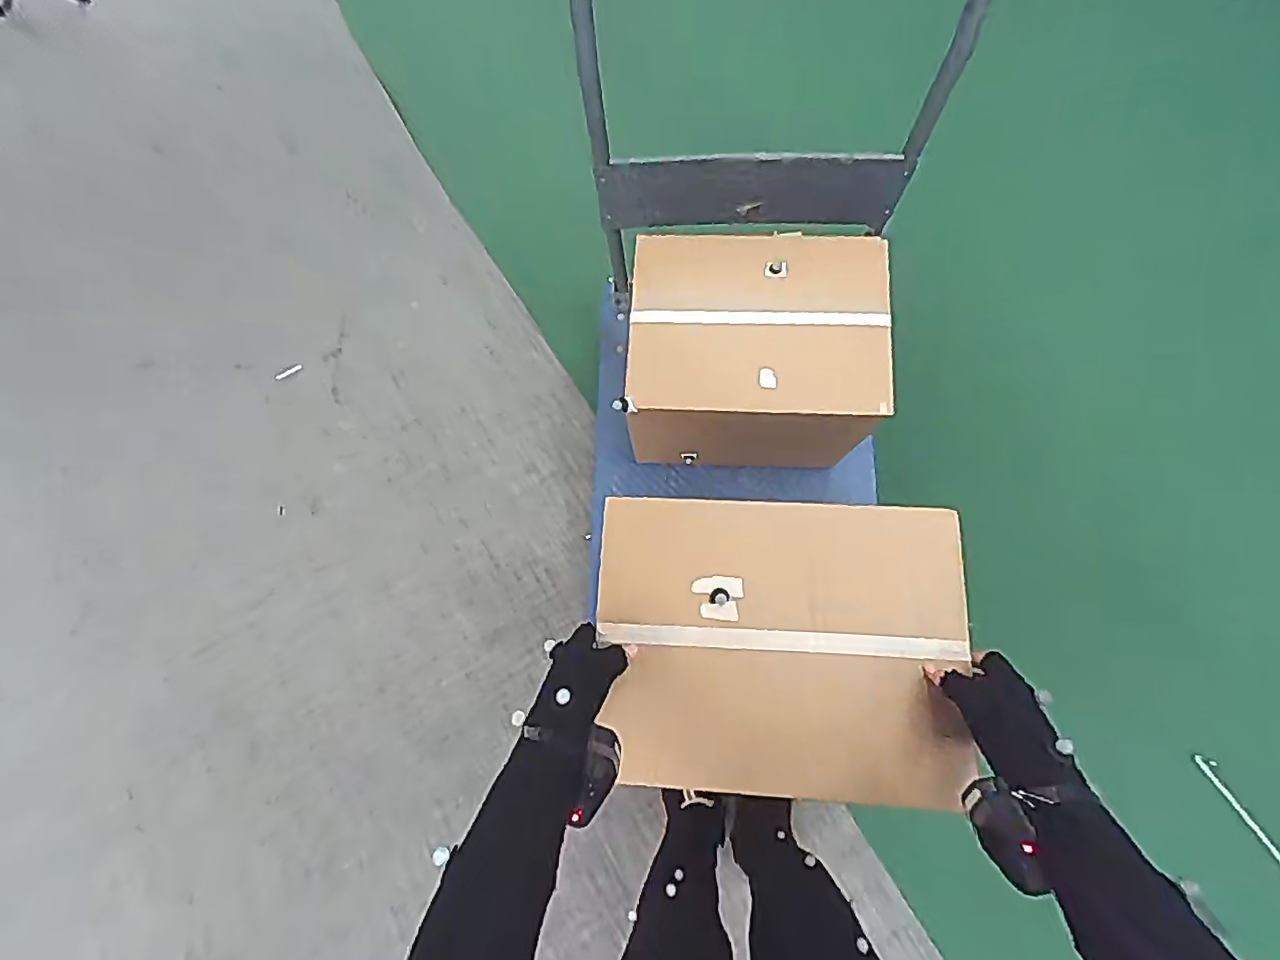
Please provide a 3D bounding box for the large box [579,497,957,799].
[{"bbox_3d":[0.151,0.203,0.747,0.408,0.320,0.320,2,78,6],"label":"large box"}]
